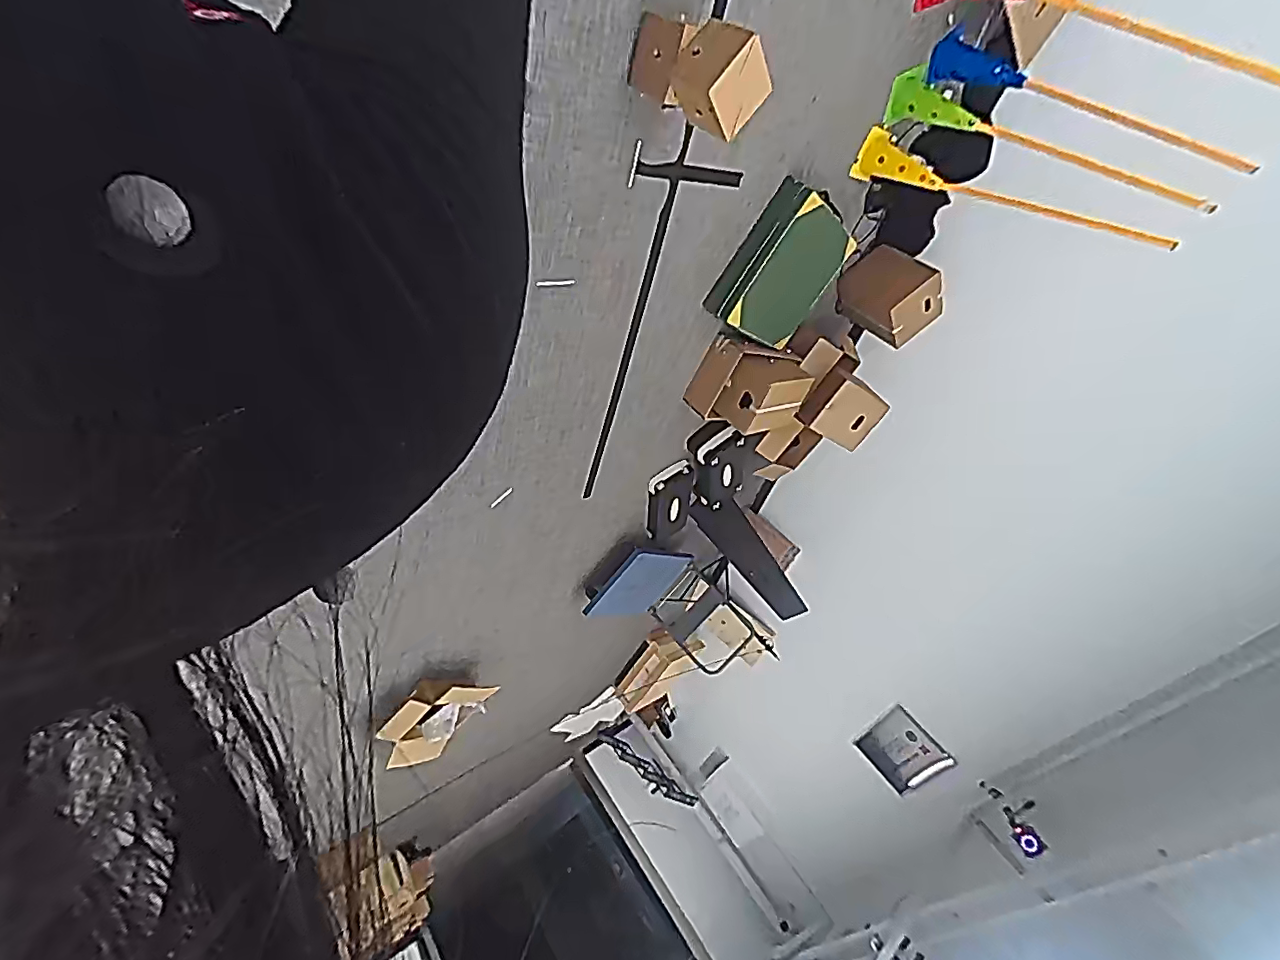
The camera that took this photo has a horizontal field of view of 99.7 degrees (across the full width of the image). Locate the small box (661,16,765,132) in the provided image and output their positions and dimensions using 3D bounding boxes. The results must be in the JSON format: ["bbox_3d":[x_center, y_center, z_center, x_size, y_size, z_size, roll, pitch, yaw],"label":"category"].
[{"bbox_3d":[0.194,-1.050,1.414,0.179,0.176,0.168,-49,152,9],"label":"small box"}]

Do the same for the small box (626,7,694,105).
[{"bbox_3d":[0.083,-1.154,1.485,0.168,0.176,0.179,-19,143,-39],"label":"small box"}]
